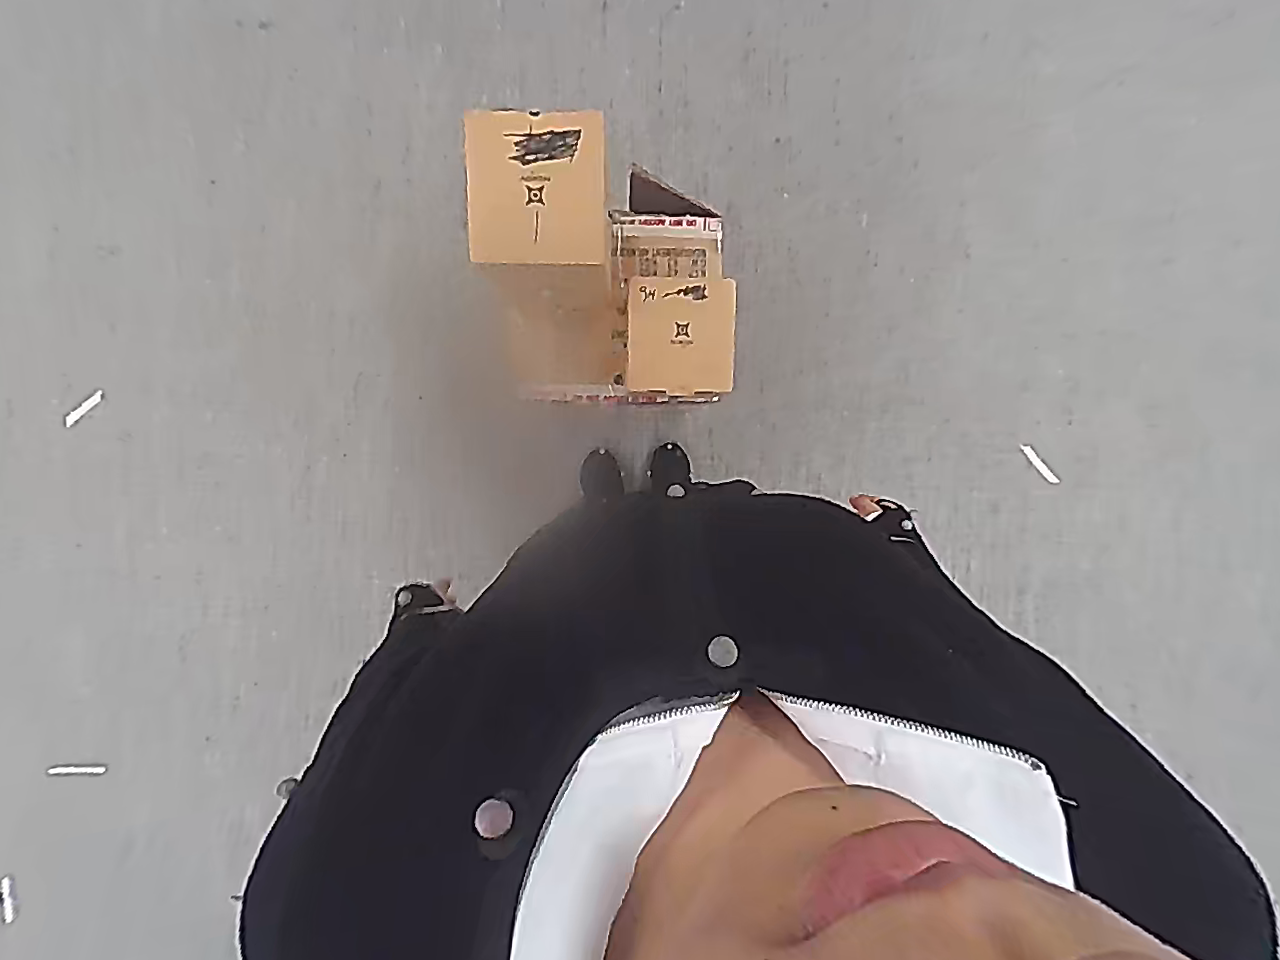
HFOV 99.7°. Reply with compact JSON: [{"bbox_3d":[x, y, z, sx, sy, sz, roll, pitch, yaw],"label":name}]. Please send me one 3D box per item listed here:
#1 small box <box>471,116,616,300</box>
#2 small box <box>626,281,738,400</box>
[{"bbox_3d":[-0.120,-0.350,0.724,0.168,0.176,0.179,0,98,0],"label":"small box"},{"bbox_3d":[0.063,-0.224,0.907,0.168,0.176,0.179,0,97,-3],"label":"small box"}]
